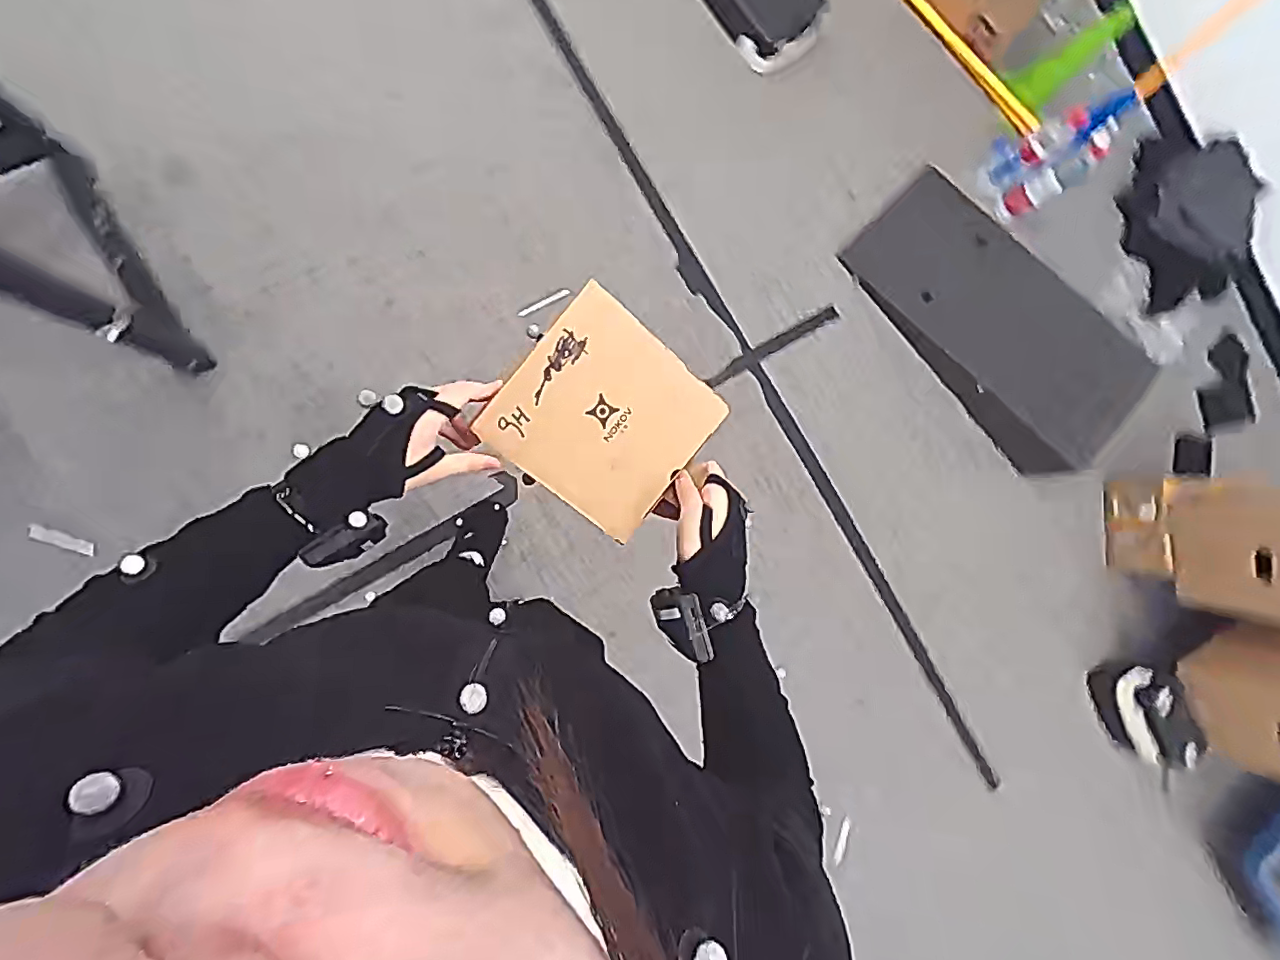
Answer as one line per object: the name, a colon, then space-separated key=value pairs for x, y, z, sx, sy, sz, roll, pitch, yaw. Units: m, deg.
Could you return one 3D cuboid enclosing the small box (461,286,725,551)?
small box: x=-0.055 y=-0.061 z=0.539 sx=0.179 sy=0.176 sz=0.168 roll=39 pitch=86 yaw=-19
